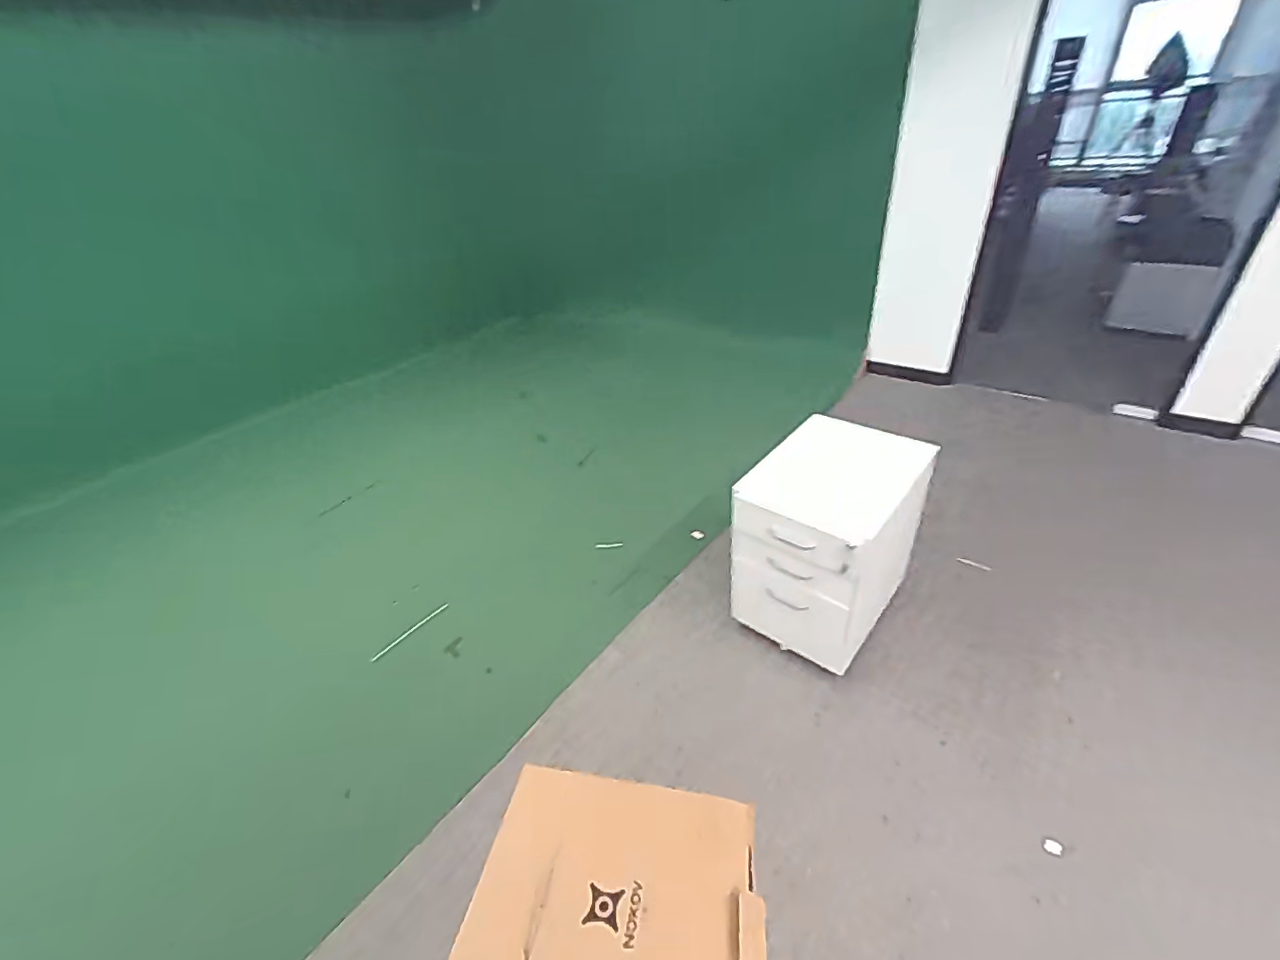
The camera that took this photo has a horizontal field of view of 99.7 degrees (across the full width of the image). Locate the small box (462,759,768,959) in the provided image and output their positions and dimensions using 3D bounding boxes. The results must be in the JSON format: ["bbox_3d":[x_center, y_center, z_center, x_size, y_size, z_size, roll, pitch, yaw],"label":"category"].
[{"bbox_3d":[-0.009,0.332,0.373,0.179,0.176,0.168,4,27,9],"label":"small box"}]
